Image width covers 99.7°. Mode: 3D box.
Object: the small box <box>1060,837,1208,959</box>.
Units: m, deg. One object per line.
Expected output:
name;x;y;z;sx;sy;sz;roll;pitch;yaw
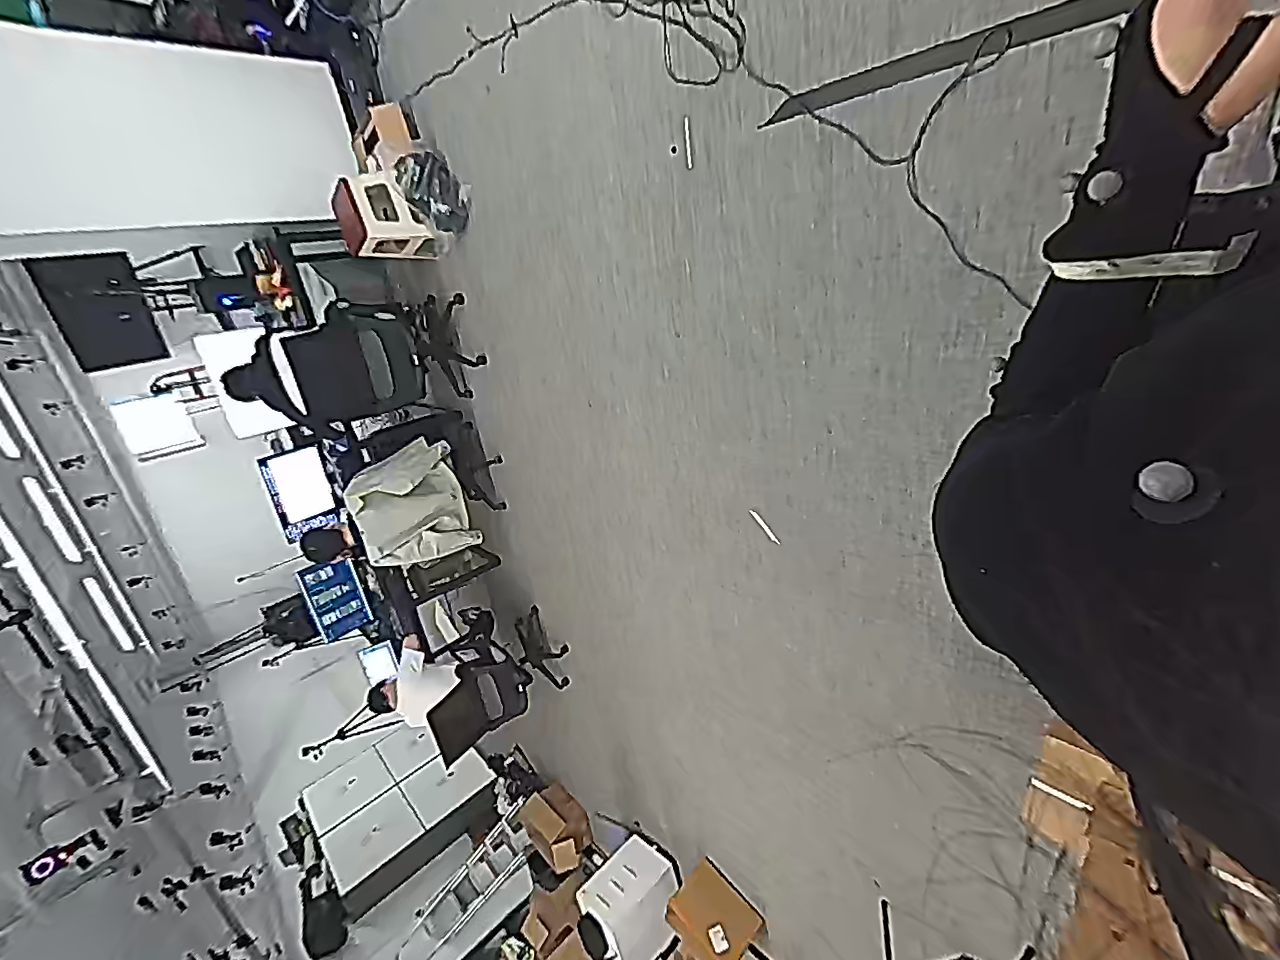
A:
small box;0.900;0.814;0.987;0.168;0.176;0.179;15;120;45

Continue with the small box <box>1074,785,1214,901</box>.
small box;1.015;0.766;1.090;0.179;0.176;0.168;14;120;47
